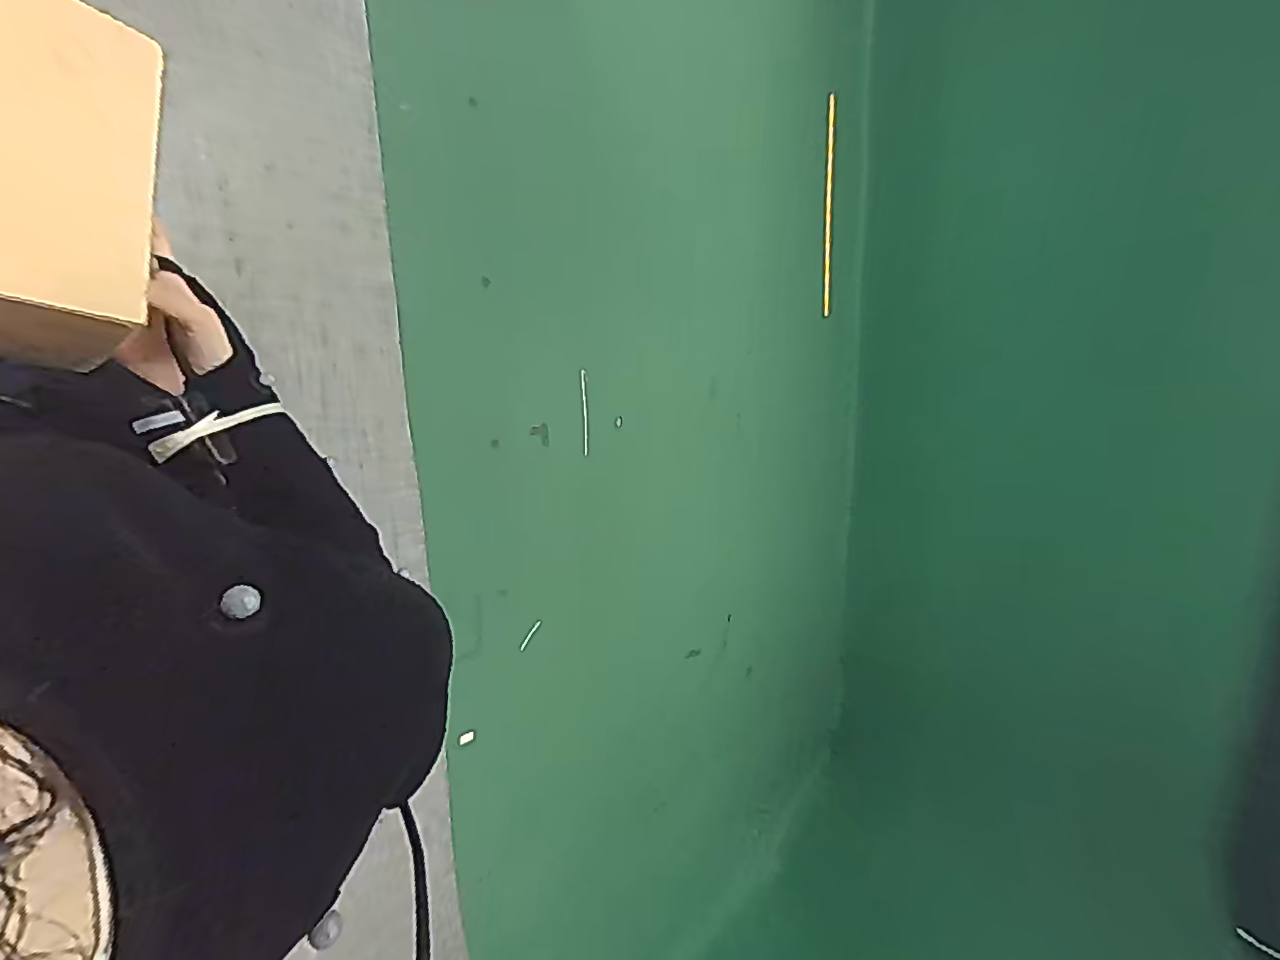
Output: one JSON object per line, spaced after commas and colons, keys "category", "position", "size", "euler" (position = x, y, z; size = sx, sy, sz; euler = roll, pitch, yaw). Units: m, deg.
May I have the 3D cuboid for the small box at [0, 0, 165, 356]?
{"category": "small box", "position": [-0.398, -0.173, 0.293], "size": [0.179, 0.176, 0.168], "euler": [6, 84, -52]}
